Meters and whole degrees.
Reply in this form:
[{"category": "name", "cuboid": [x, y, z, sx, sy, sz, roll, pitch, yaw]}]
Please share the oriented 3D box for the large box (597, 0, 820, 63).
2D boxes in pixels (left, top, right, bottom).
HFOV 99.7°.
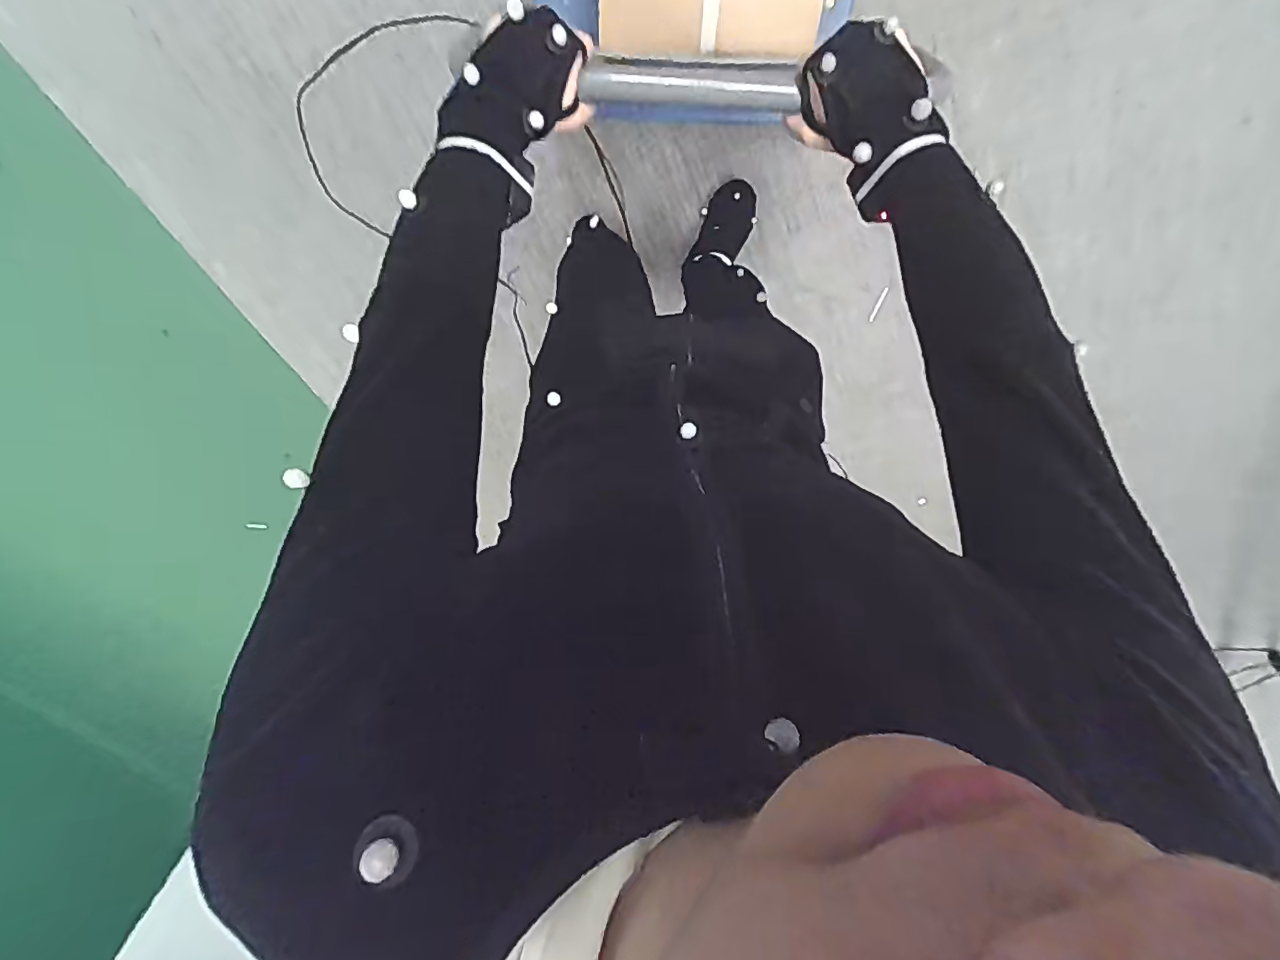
[{"category": "large box", "cuboid": [0.109, -0.870, 0.789, 0.320, 0.320, 0.408, 4, 126, 1]}]
